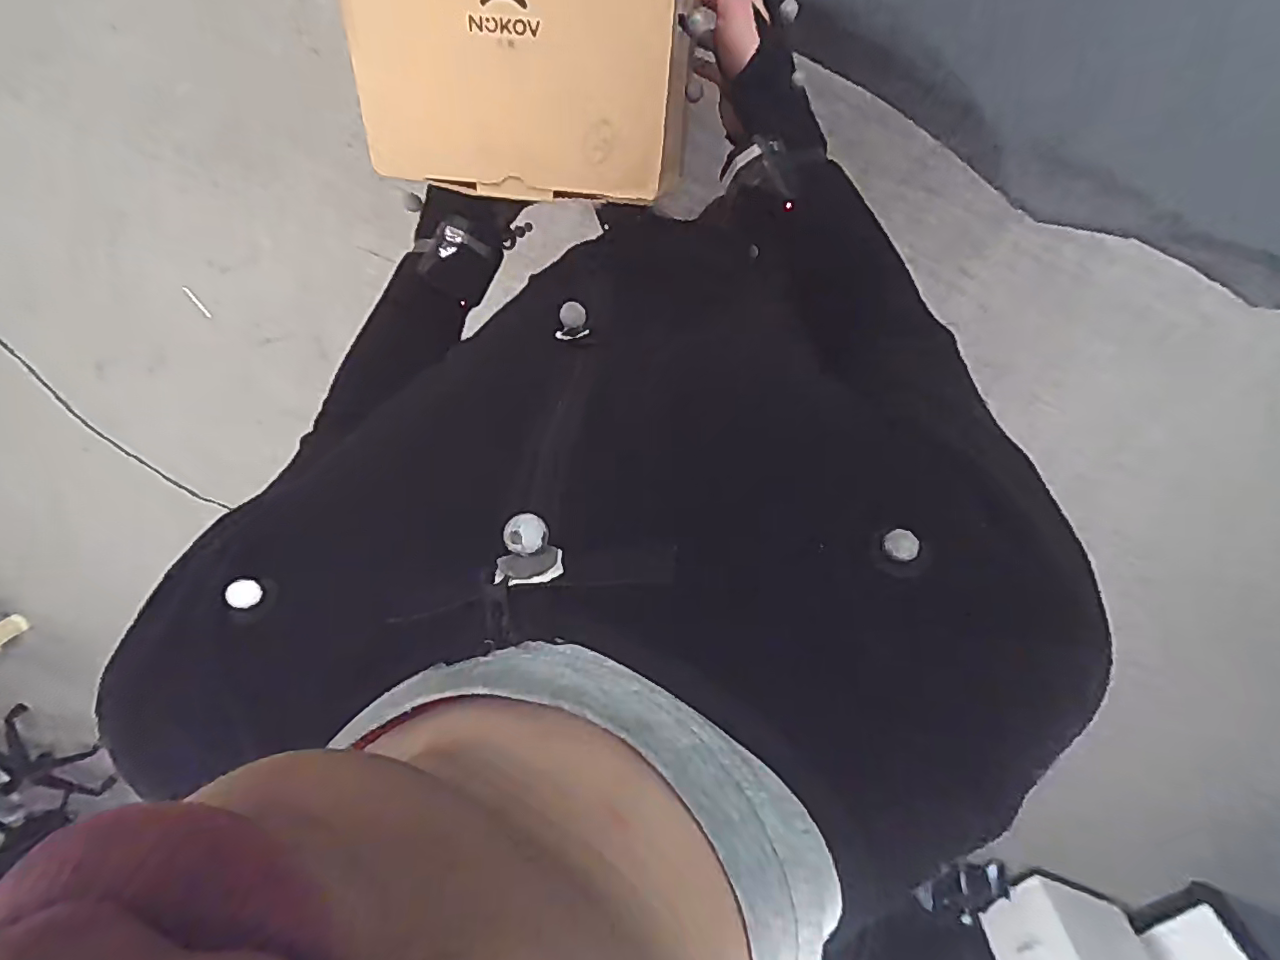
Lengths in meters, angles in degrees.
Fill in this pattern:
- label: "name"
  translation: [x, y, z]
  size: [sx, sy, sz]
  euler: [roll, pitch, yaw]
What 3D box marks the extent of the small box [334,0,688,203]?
- label: "small box"
  translation: [-0.058, -0.279, 0.318]
  size: [0.168, 0.176, 0.179]
  euler: [7, 125, 2]
